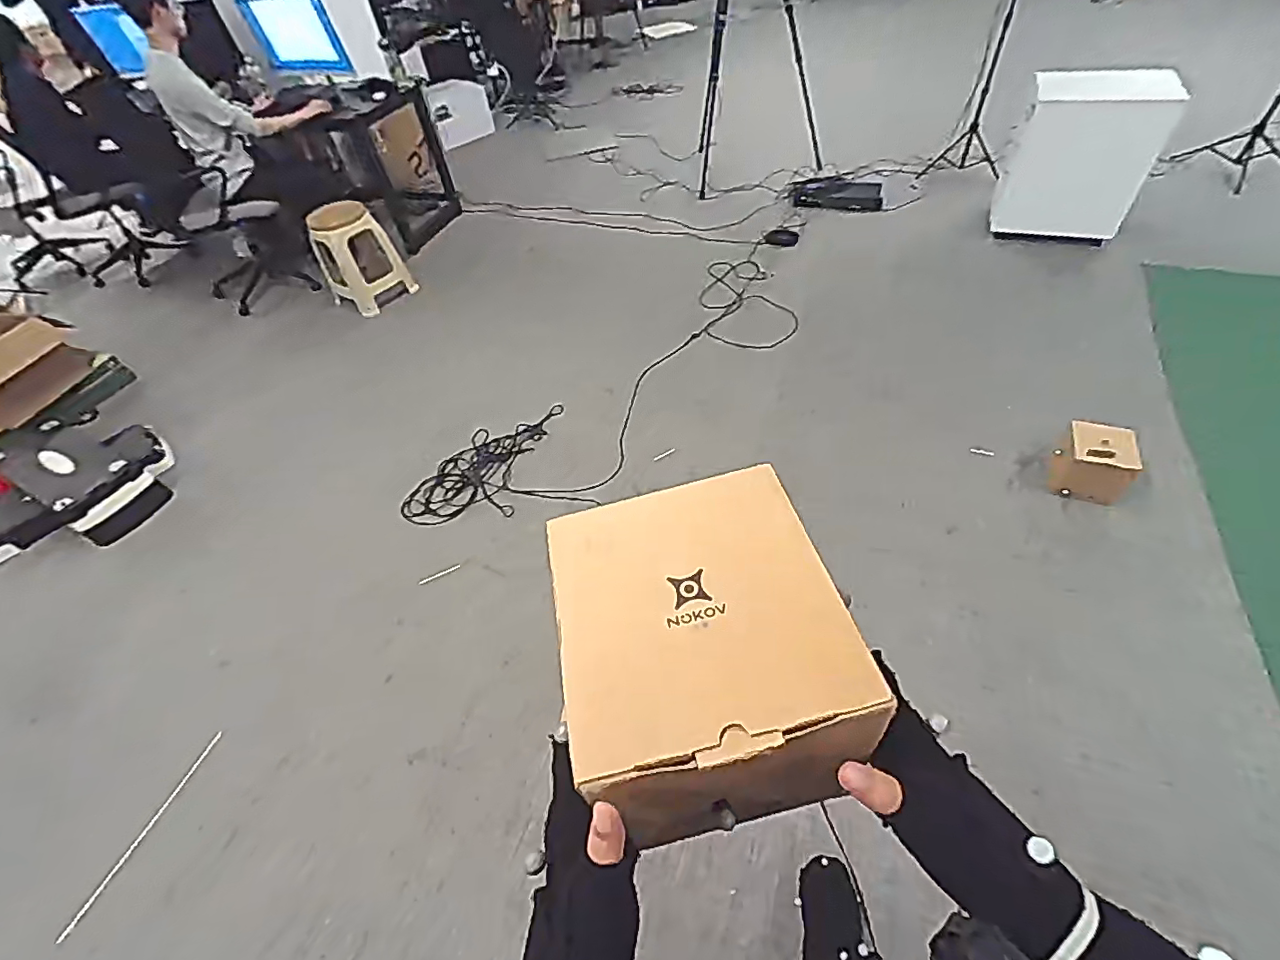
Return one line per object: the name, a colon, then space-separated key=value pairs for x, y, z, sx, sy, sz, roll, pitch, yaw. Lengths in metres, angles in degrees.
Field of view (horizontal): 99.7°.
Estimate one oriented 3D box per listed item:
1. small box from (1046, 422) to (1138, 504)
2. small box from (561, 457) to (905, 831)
small box: x=1.399 y=-0.051 z=1.685 sx=0.168 sy=0.176 sz=0.179 roll=14 pitch=53 yaw=19
small box: x=0.049 y=0.116 z=0.382 sx=0.168 sy=0.176 sz=0.179 roll=-14 pitch=47 yaw=-2
